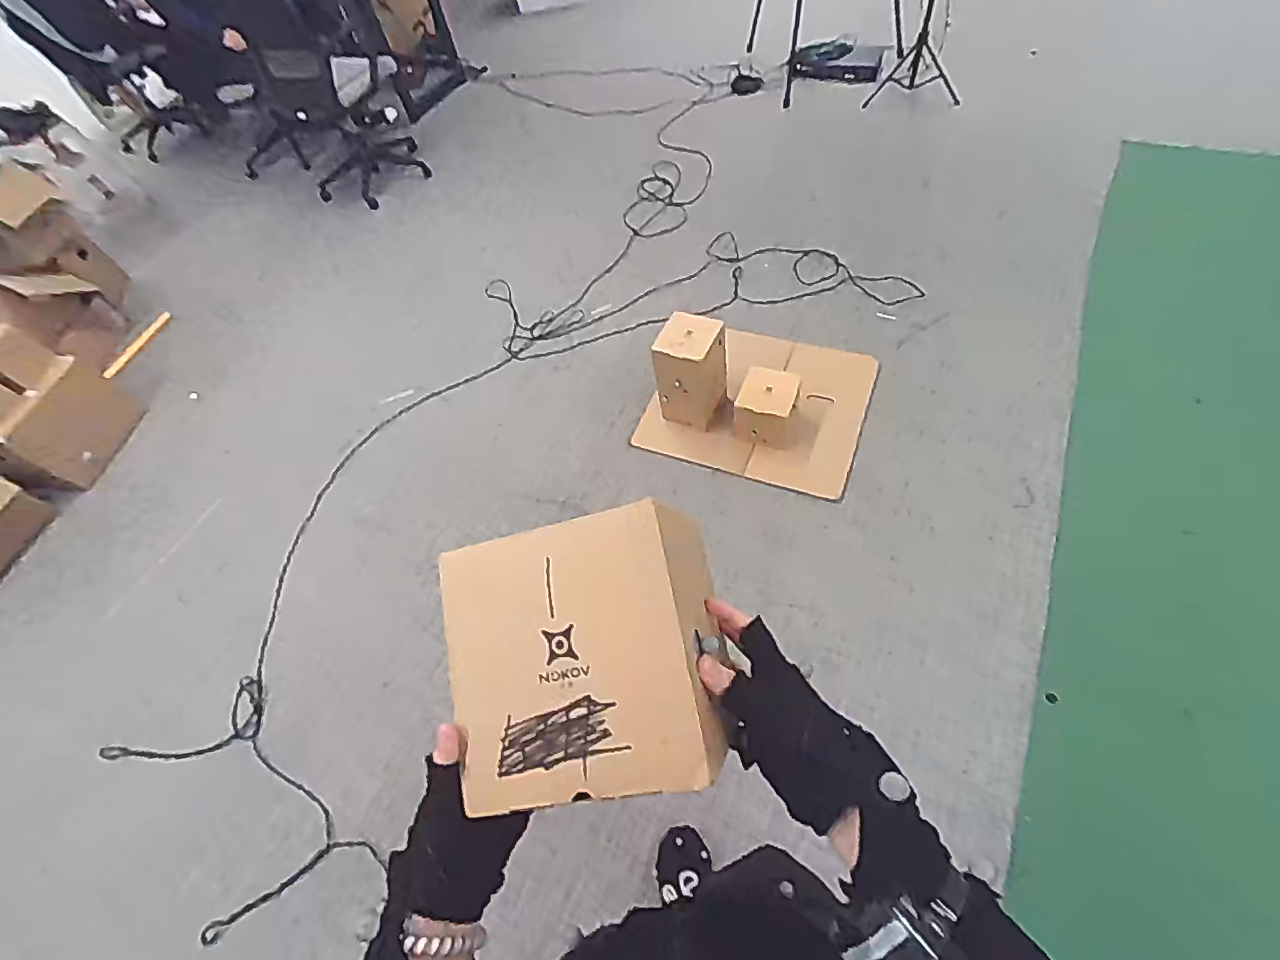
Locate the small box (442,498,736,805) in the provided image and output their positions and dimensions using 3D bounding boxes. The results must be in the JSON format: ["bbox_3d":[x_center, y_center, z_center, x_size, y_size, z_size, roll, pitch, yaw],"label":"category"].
[{"bbox_3d":[-0.028,0.124,0.429,0.168,0.176,0.179,-15,77,13],"label":"small box"}]

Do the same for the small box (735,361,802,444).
[{"bbox_3d":[0.401,-0.243,1.711,0.168,0.176,0.179,16,63,18],"label":"small box"}]

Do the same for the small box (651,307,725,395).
[{"bbox_3d":[0.152,-0.392,1.648,0.168,0.176,0.179,19,63,22],"label":"small box"}]
